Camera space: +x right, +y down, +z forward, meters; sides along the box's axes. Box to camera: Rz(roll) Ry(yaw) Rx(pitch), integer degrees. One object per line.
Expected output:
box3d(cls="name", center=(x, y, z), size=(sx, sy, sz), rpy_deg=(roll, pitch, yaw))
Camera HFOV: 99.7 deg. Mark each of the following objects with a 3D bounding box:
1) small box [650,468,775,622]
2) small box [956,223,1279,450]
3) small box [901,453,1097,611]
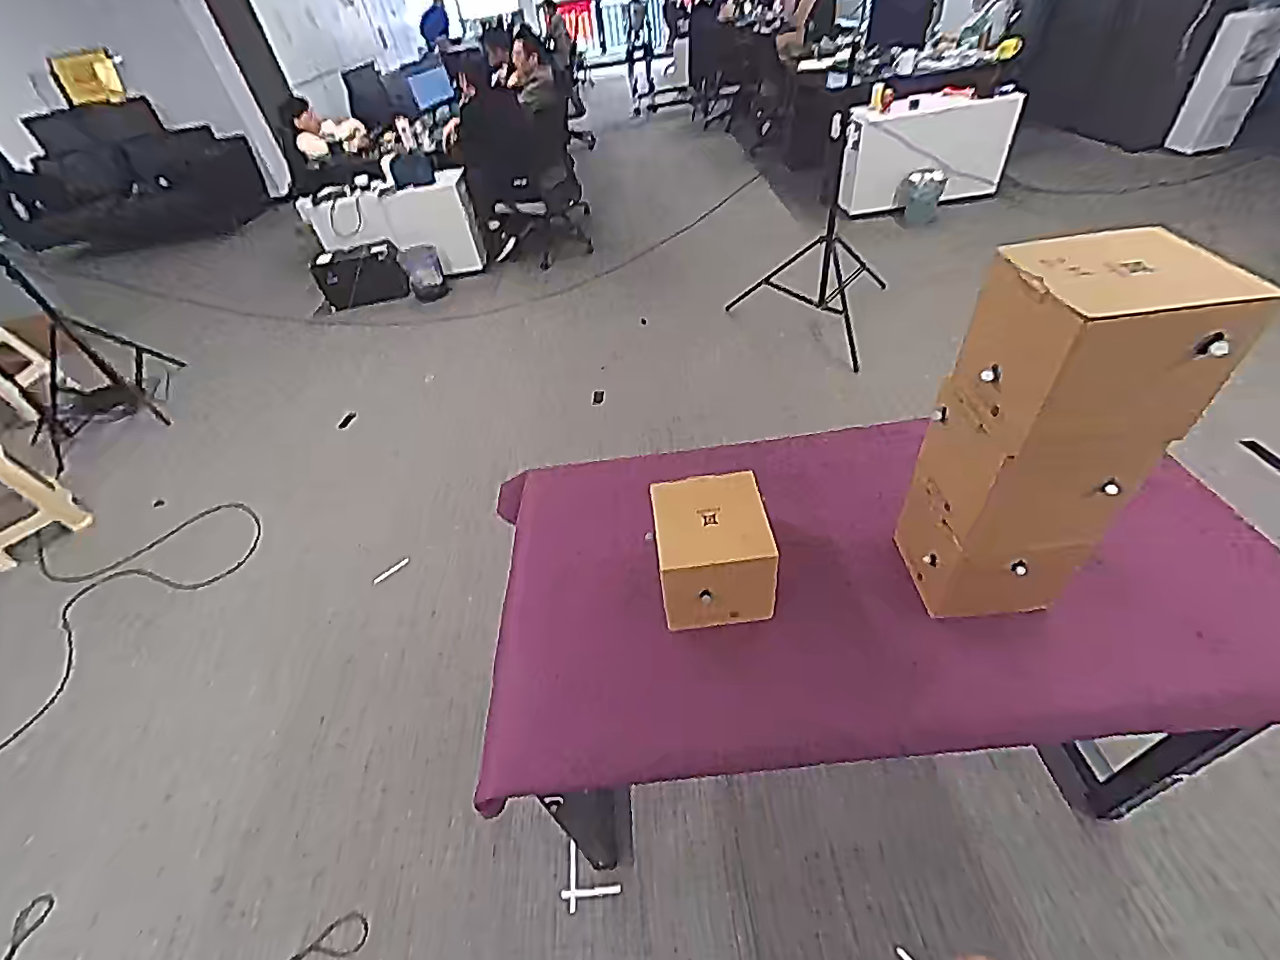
box3d(cls="small box", center=(0.112, 0.110, 0.857), size=(0.168, 0.176, 0.179), rpy_deg=(-8, 43, 2))
box3d(cls="small box", center=(0.482, -0.151, 0.582), size=(0.179, 0.176, 0.168), rpy_deg=(-7, 43, 4))
box3d(cls="small box", center=(0.513, 0.082, 0.812), size=(0.179, 0.176, 0.168), rpy_deg=(-6, 44, 4))
